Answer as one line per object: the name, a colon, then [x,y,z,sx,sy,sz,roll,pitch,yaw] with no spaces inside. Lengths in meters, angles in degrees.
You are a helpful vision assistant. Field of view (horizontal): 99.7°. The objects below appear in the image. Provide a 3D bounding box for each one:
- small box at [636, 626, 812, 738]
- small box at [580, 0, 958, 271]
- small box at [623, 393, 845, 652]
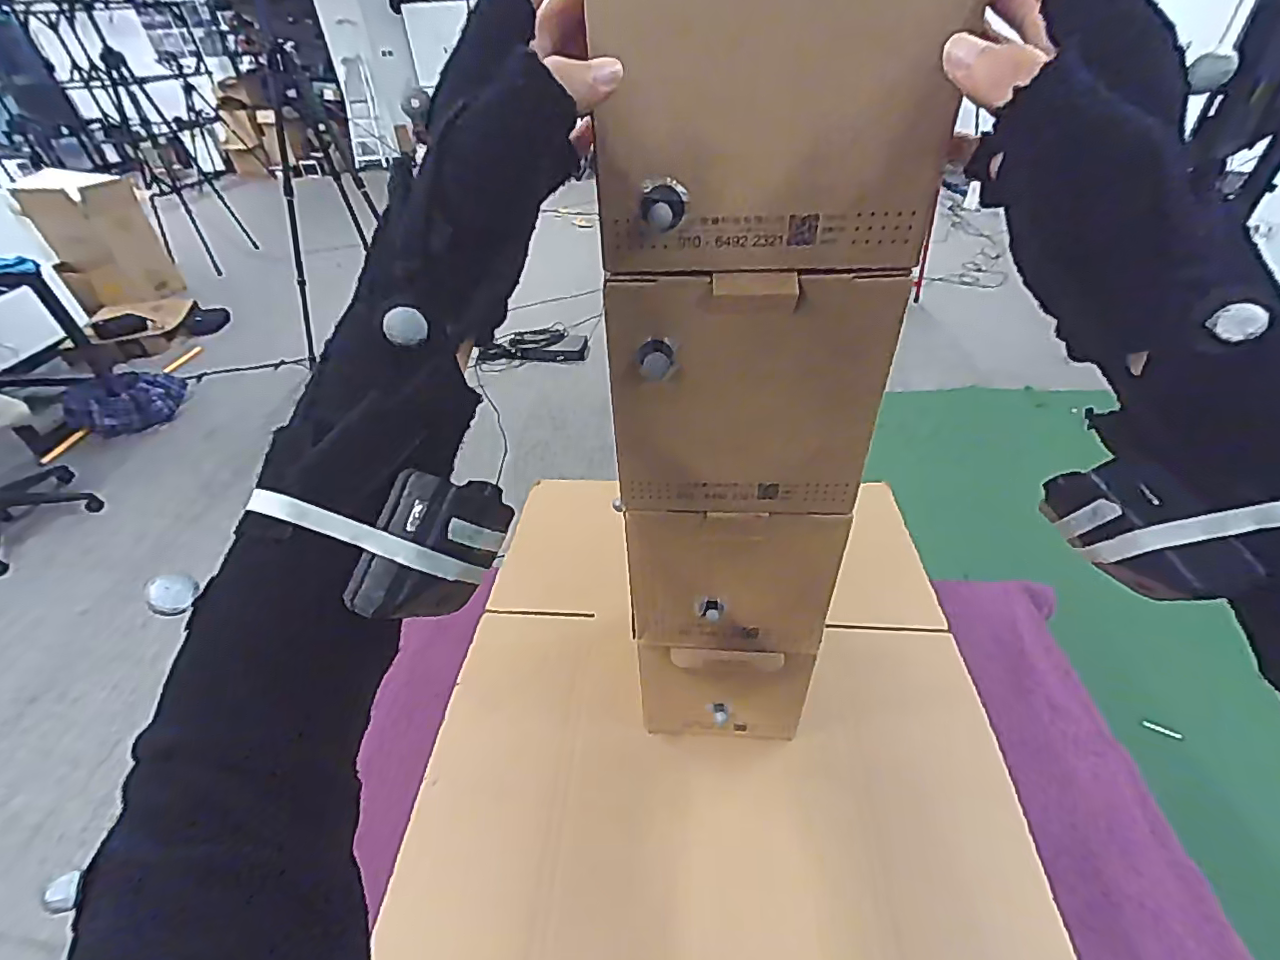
small box: [0.087,0.162,0.613,0.168,0.176,0.179,1,39,6]
small box: [0.064,-0.226,0.310,0.168,0.176,0.179,1,37,5]
small box: [0.078,0.035,0.511,0.168,0.176,0.179,2,39,5]
